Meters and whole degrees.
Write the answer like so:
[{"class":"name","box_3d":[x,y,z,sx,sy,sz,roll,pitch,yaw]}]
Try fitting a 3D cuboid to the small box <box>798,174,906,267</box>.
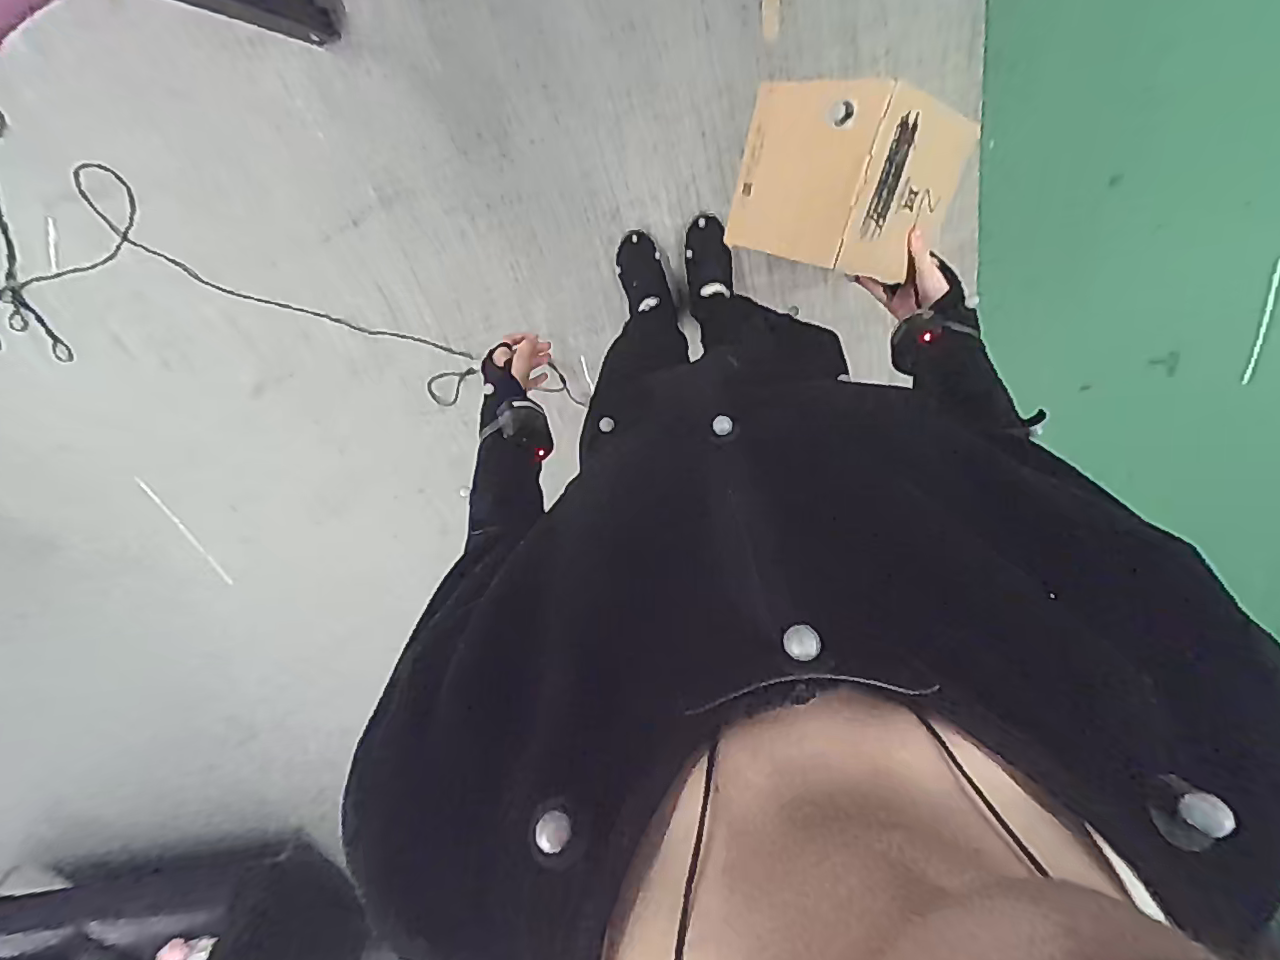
[{"class":"small box","box_3d":[0.451,-0.569,1.184,0.179,0.176,0.168,-3,120,5]}]
